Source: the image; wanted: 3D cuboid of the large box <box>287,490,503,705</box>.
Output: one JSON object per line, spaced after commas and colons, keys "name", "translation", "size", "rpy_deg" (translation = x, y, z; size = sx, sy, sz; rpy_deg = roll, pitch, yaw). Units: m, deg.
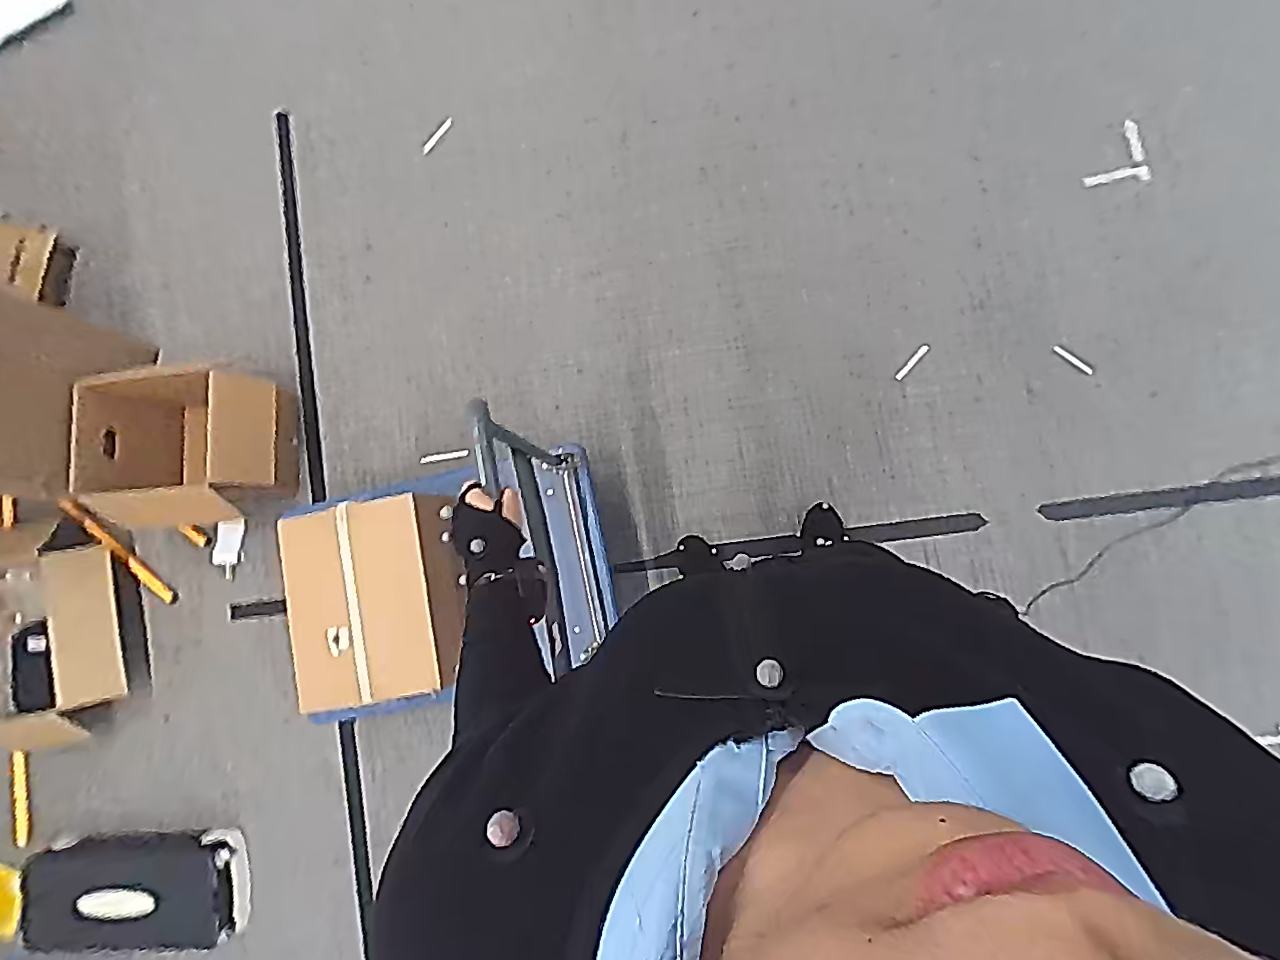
{"name": "large box", "translation": [-0.551, 0.253, 1.271], "size": [0.320, 0.320, 0.408], "rpy_deg": [-12, 85, 7]}
